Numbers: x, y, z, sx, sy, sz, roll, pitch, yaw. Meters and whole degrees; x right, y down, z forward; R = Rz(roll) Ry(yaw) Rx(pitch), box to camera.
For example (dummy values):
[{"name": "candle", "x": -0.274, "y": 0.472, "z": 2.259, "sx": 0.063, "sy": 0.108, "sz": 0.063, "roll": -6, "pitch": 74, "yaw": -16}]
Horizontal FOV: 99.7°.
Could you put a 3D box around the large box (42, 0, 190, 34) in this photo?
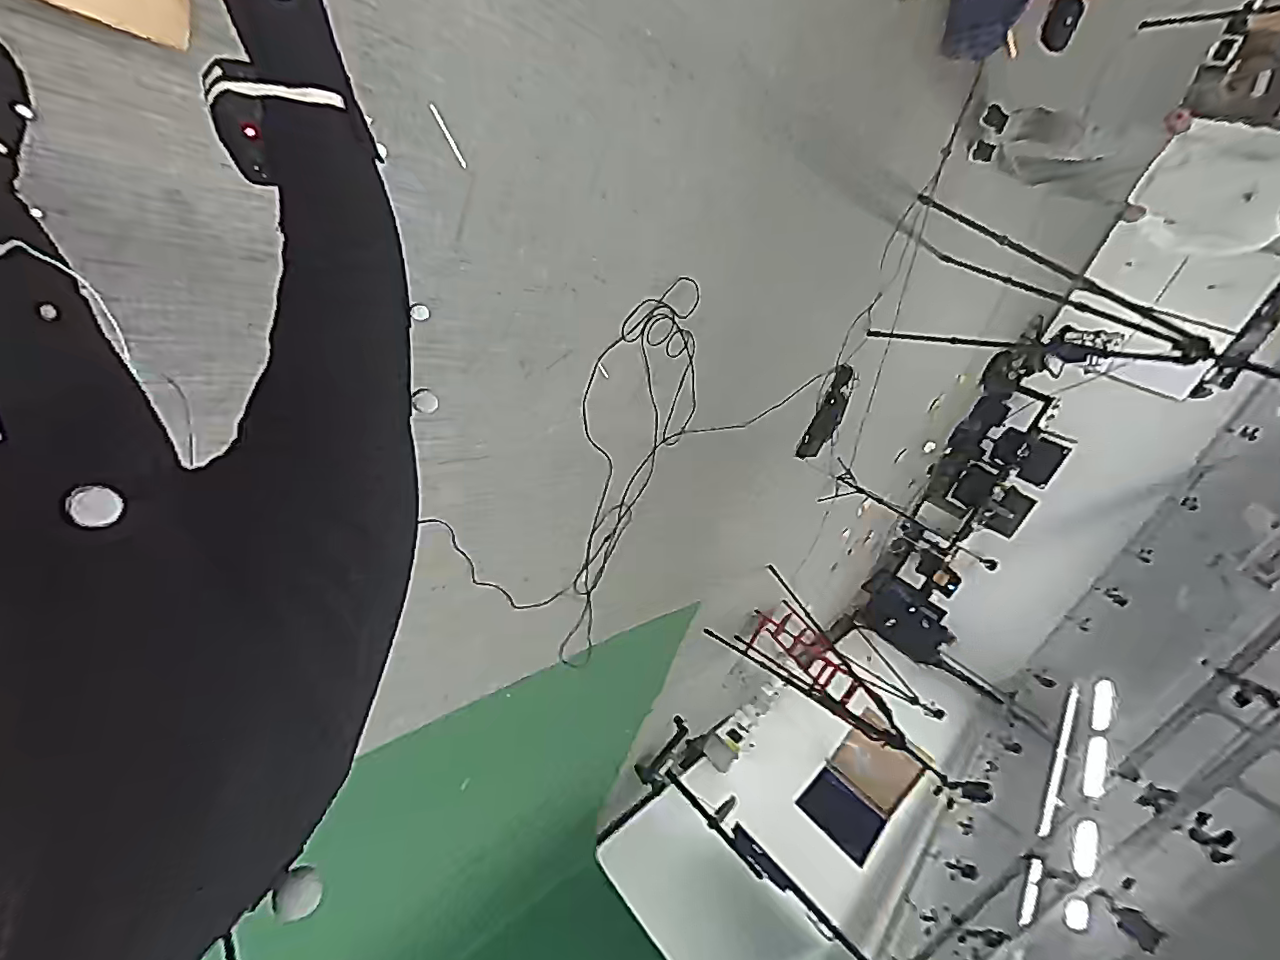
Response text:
[{"name": "large box", "x": -0.547, "y": -0.526, "z": 0.296, "sx": 0.408, "sy": 0.320, "sz": 0.320, "roll": -11, "pitch": 128, "yaw": -49}]
